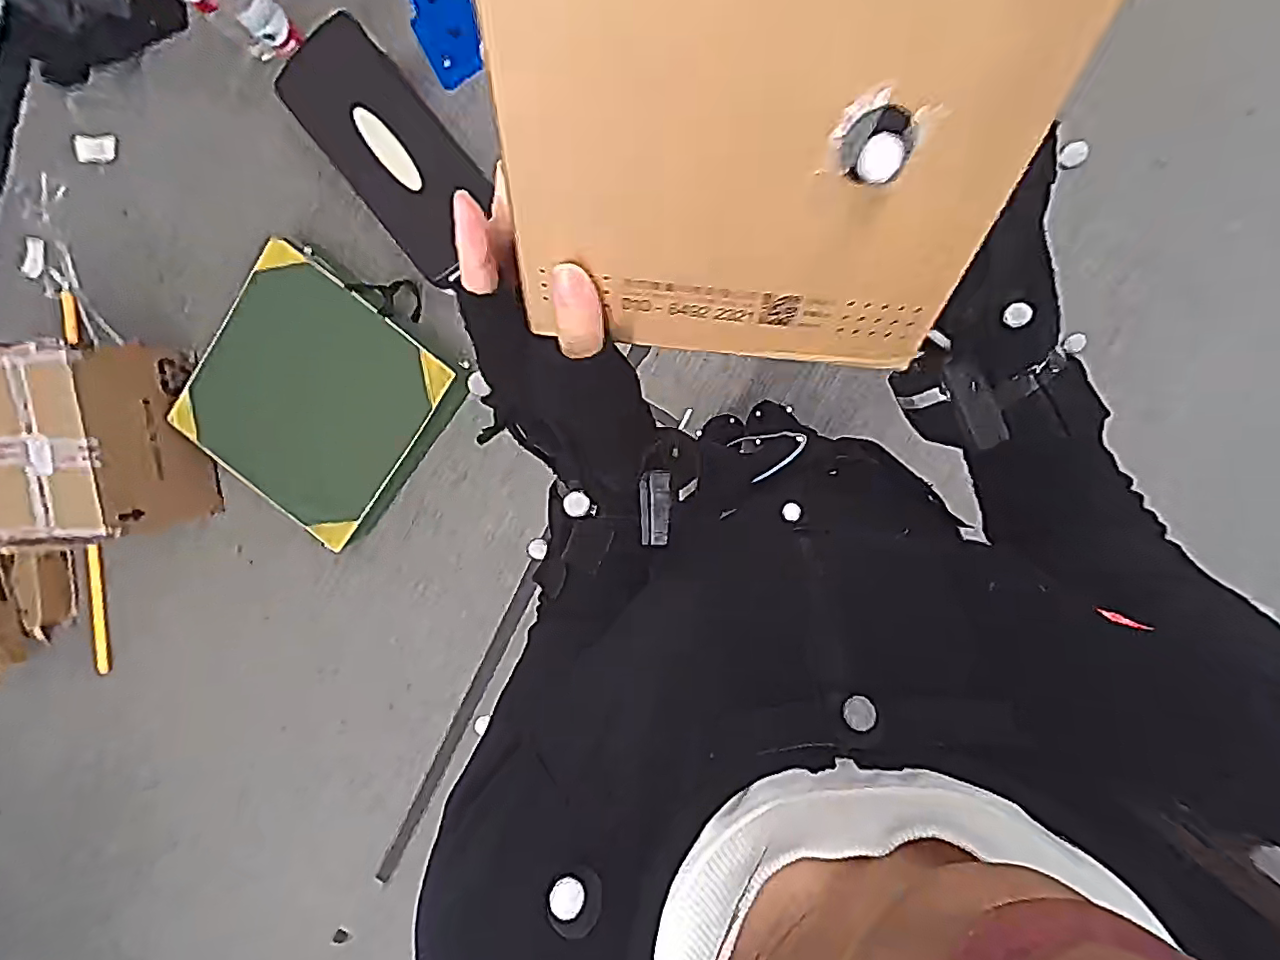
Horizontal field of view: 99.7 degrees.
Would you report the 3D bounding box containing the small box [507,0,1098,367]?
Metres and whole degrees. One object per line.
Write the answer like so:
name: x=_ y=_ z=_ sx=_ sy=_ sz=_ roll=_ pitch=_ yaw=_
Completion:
small box: x=0.050 y=-0.169 z=0.226 sx=0.168 sy=0.176 sz=0.179 roll=7 pitch=54 yaw=2
